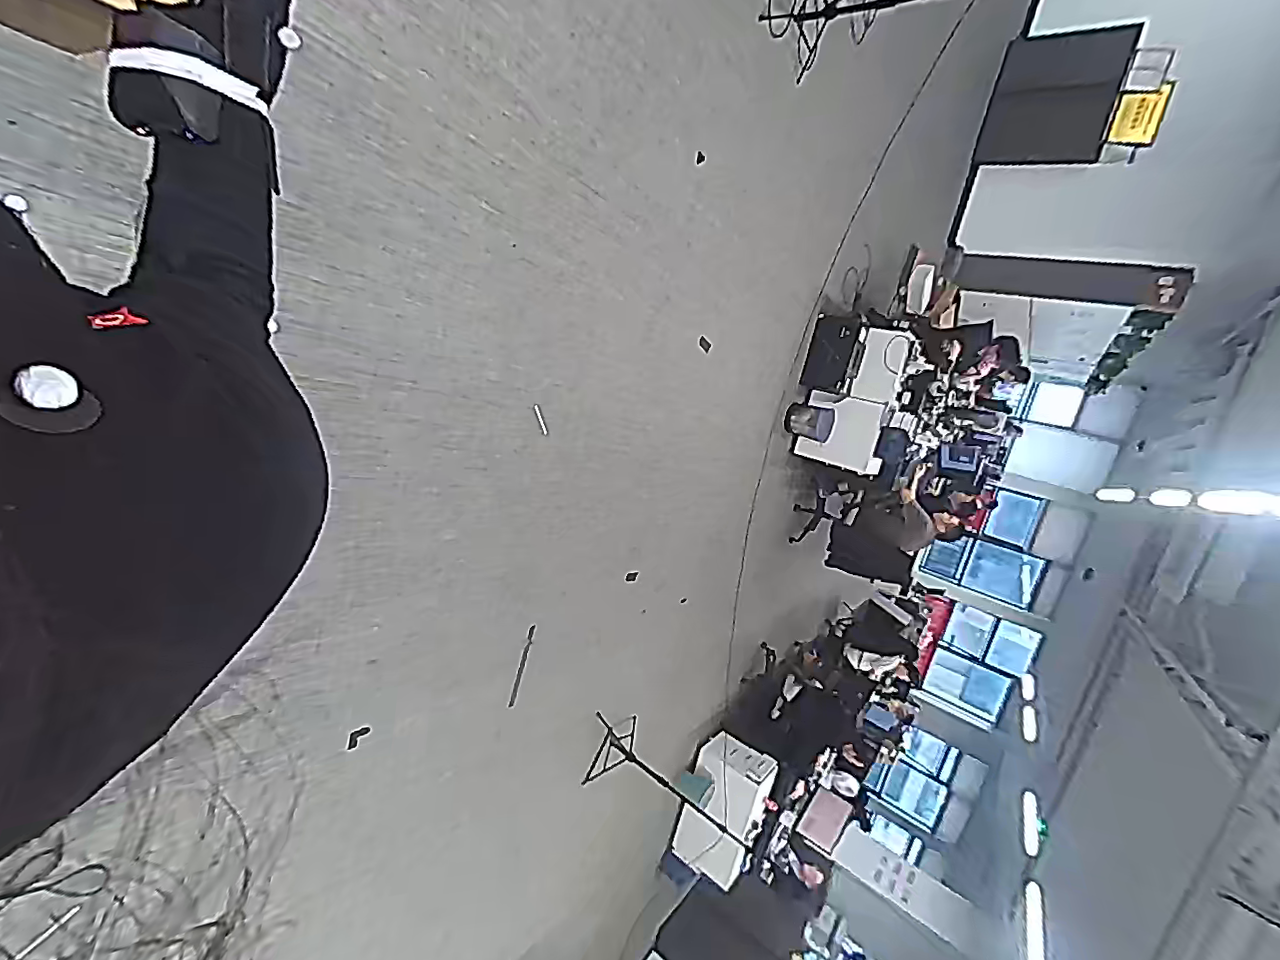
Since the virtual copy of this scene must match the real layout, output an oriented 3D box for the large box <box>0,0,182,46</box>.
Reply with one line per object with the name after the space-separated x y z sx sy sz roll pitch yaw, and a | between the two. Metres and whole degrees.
-0.505 -0.492 0.248 0.408 0.320 0.320 -4 116 -56 | large box
